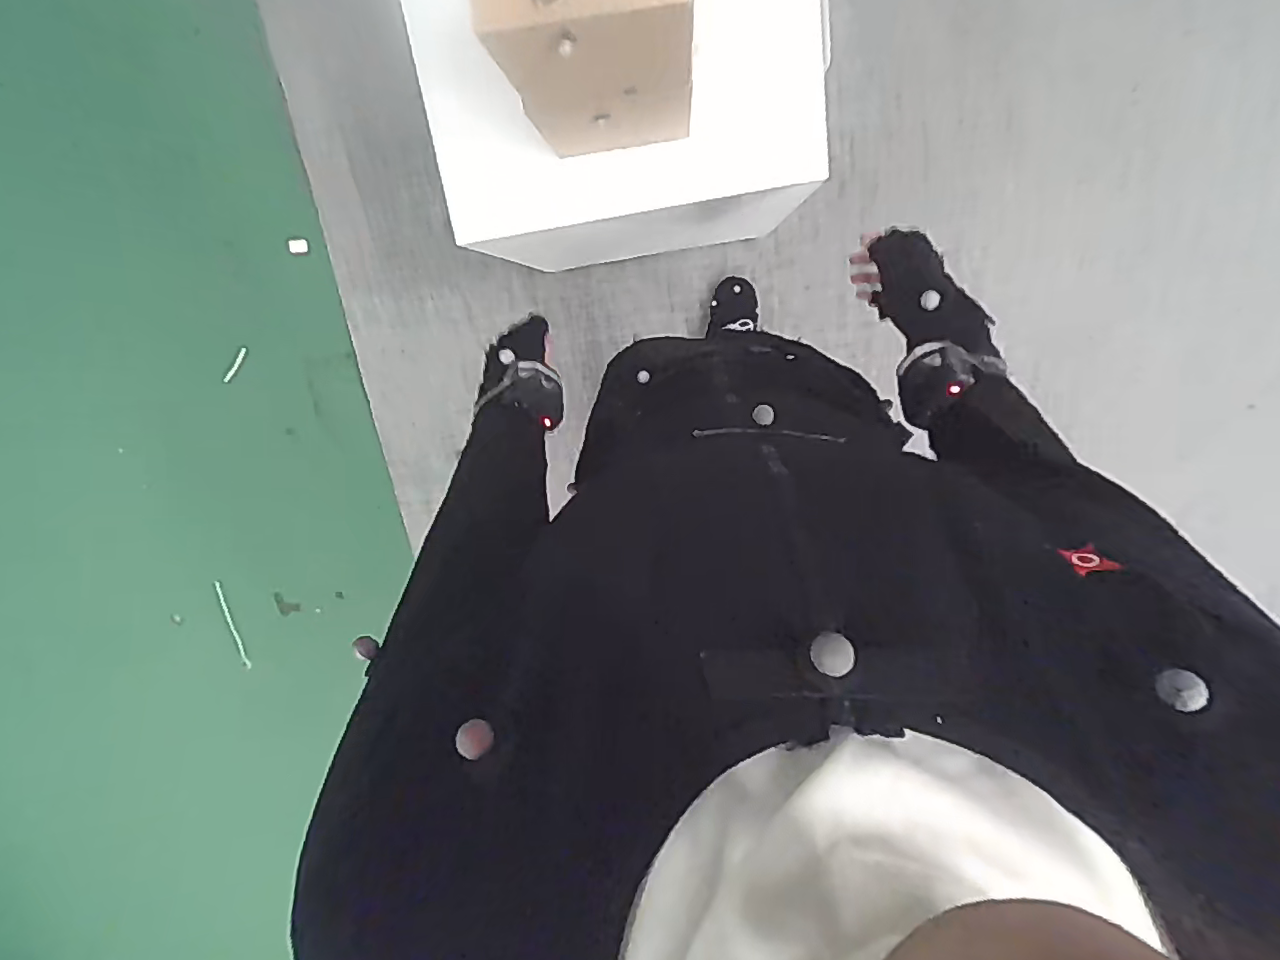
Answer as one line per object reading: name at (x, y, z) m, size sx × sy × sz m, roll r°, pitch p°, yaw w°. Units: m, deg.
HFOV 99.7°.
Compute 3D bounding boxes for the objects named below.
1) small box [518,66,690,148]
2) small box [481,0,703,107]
small box at (-0.037, -0.494, 0.605) m, size 0.179 × 0.176 × 0.168 m, roll -5°, pitch 107°, yaw 6°
small box at (-0.042, -0.450, 0.450) m, size 0.168 × 0.176 × 0.179 m, roll -7°, pitch 107°, yaw 5°
